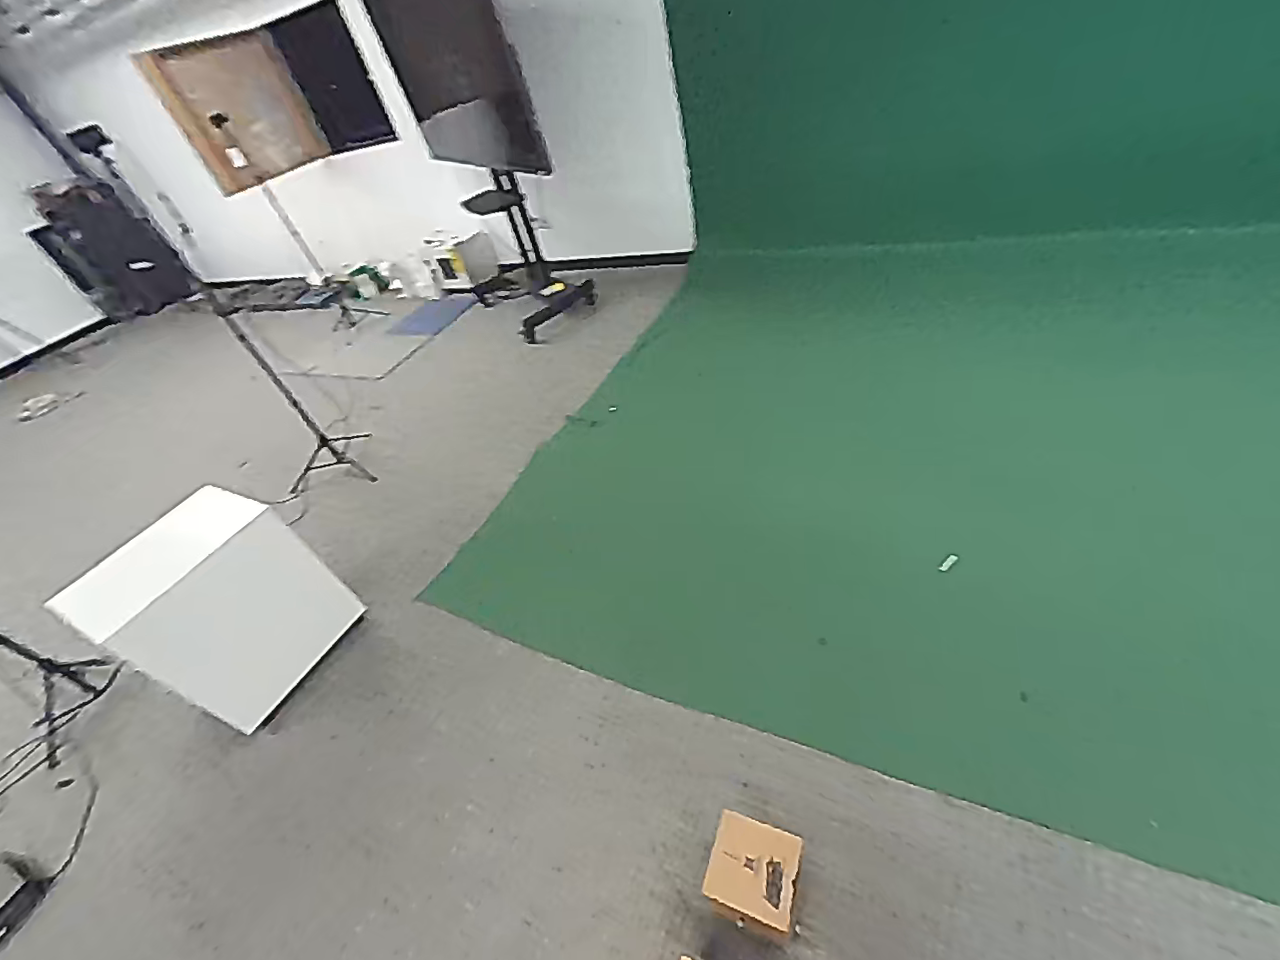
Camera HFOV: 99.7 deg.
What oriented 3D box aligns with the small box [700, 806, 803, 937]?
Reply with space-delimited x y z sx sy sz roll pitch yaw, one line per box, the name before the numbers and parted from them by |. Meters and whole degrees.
small box | 0.248 0.841 1.160 0.179 0.176 0.168 7 46 26
